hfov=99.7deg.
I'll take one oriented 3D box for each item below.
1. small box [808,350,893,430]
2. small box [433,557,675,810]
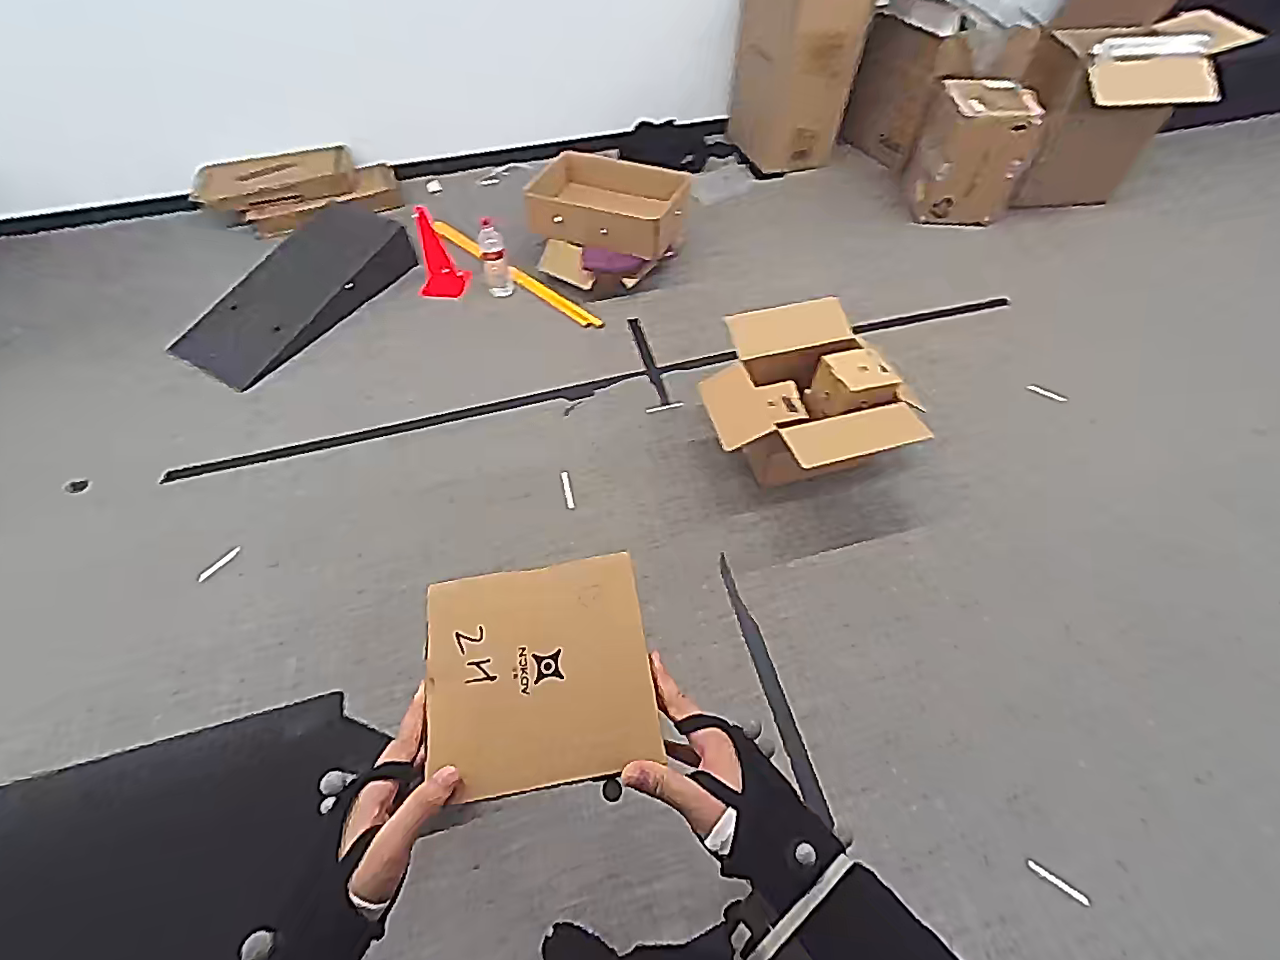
[{"bbox_3d":[0.643,-0.277,1.685,0.179,0.176,0.168,-14,54,-12],"label":"small box"},{"bbox_3d":[-0.071,0.185,0.490,0.179,0.176,0.168,-9,62,-3],"label":"small box"}]
